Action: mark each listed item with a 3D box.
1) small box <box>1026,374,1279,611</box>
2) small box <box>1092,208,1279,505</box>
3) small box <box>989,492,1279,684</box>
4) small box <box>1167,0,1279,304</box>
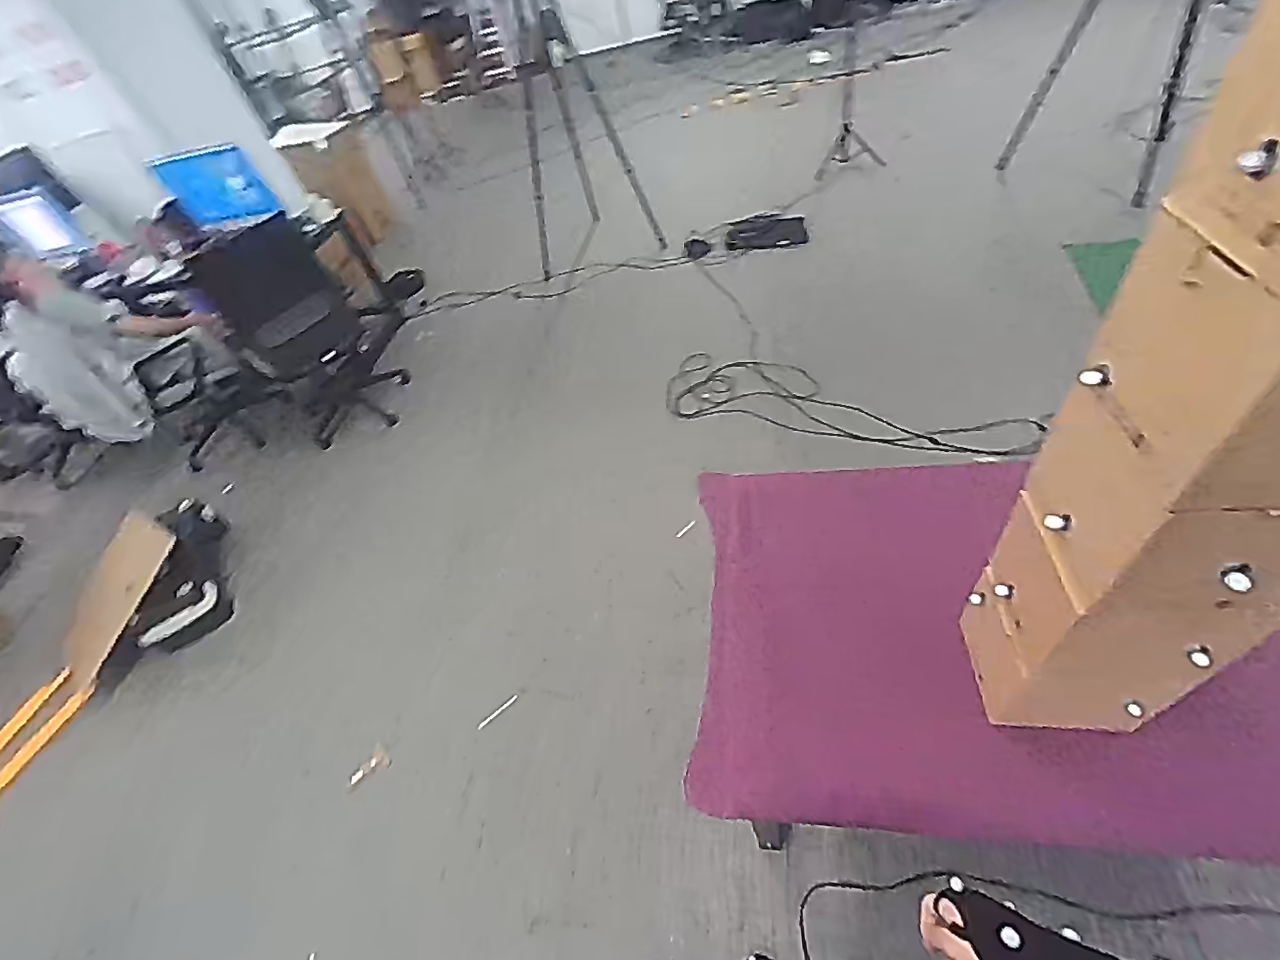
[{"bbox_3d":[0.510,0.012,0.515,0.168,0.176,0.179,-3,48,13],"label":"small box"},{"bbox_3d":[0.478,-0.094,0.394,0.179,0.176,0.168,-3,48,12],"label":"small box"},{"bbox_3d":[0.544,0.124,0.629,0.179,0.176,0.168,-3,48,14],"label":"small box"},{"bbox_3d":[0.449,-0.205,0.279,0.179,0.176,0.168,-4,47,13],"label":"small box"}]
